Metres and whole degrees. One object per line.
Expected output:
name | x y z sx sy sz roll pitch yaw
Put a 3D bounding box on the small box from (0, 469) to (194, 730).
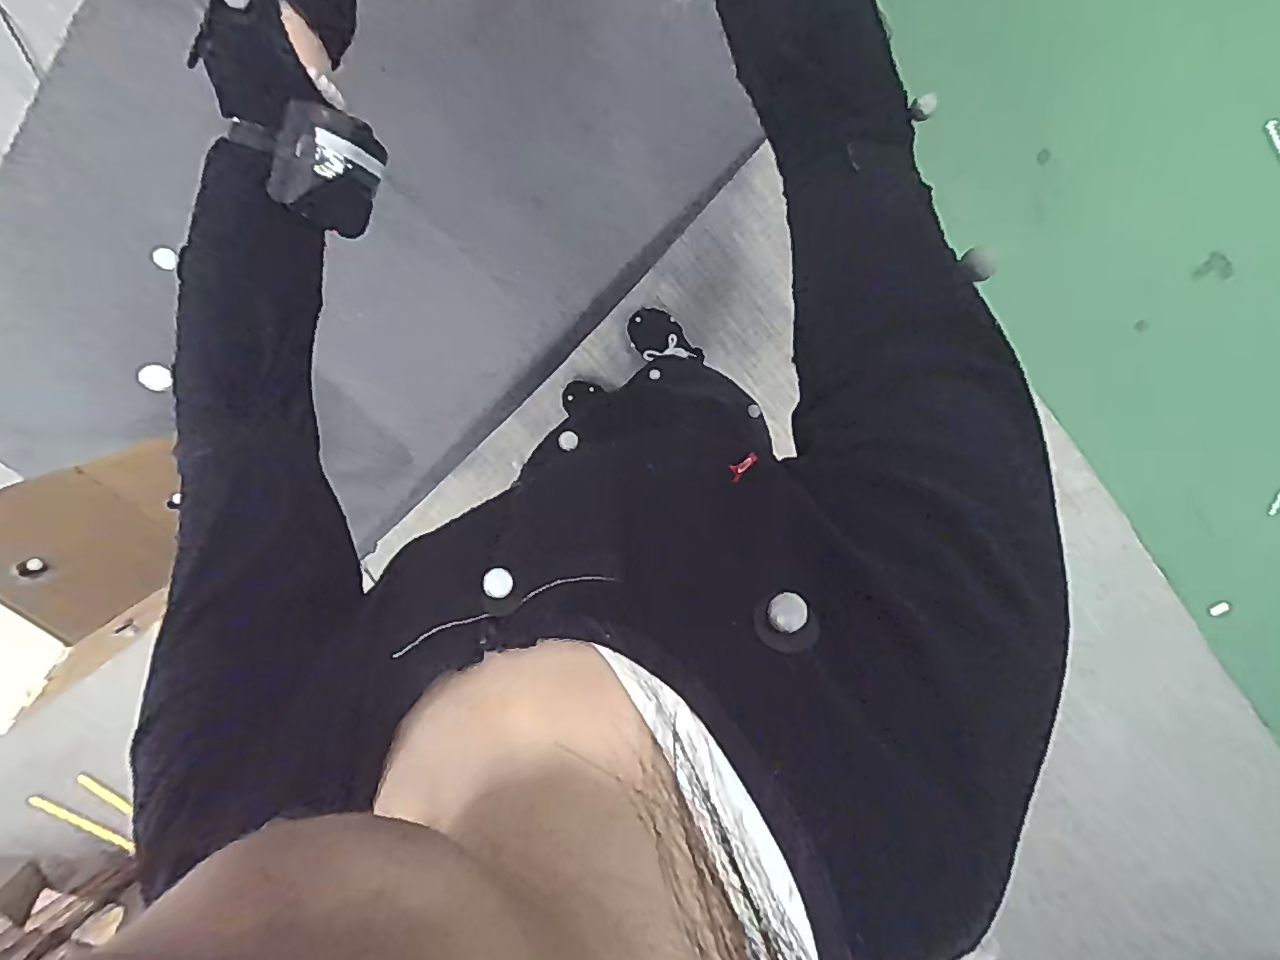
small box | -0.645 0.117 0.577 0.168 0.176 0.179 -41 105 16
